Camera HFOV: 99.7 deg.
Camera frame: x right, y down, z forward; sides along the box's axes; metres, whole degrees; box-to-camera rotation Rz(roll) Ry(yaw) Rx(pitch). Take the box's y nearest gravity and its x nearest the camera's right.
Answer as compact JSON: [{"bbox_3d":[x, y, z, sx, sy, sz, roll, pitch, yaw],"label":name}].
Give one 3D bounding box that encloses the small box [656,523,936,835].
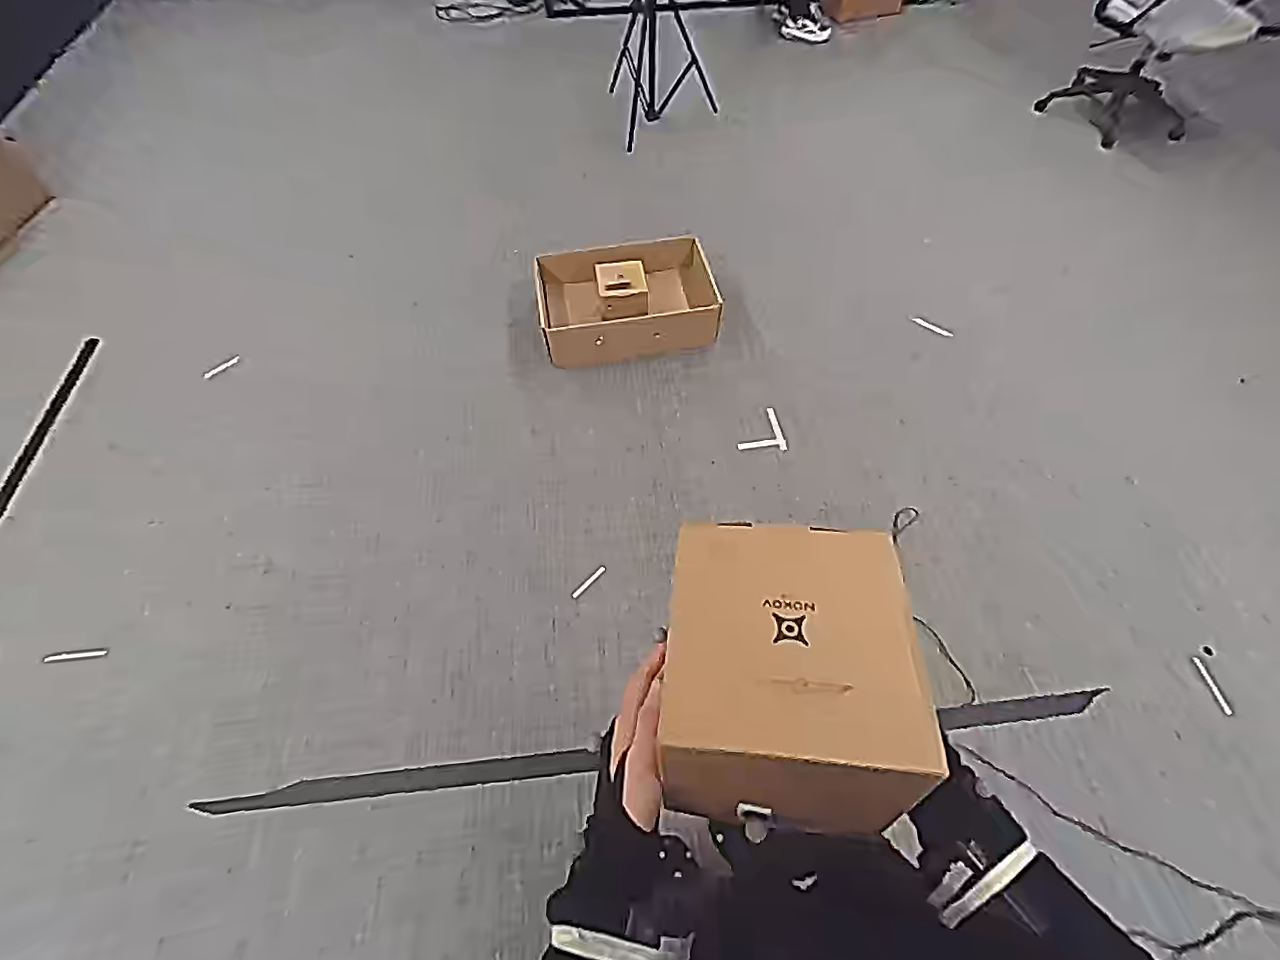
[{"bbox_3d":[0.104,0.157,0.433,0.168,0.176,0.179,2,47,8],"label":"small box"}]
